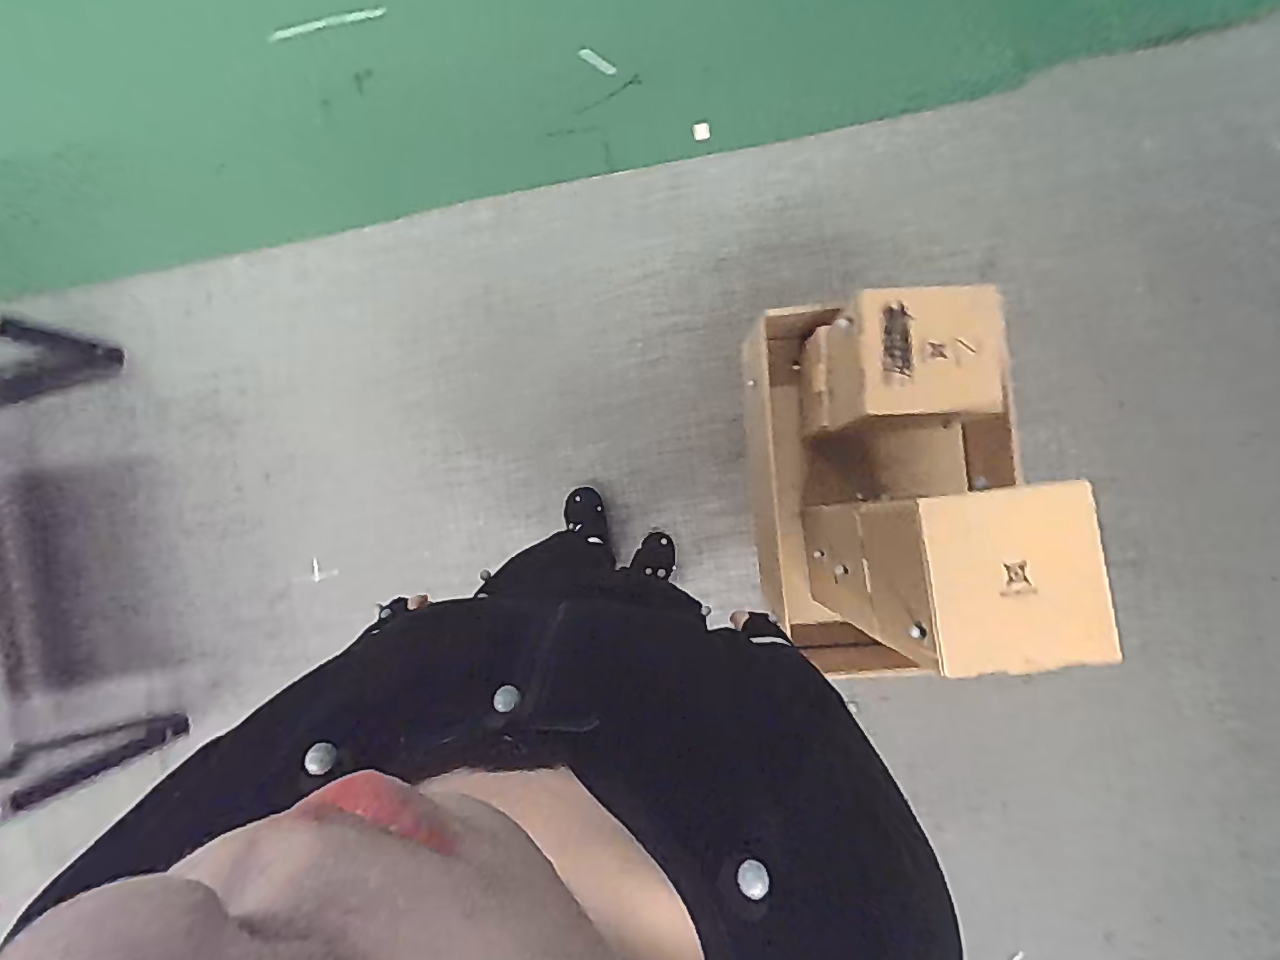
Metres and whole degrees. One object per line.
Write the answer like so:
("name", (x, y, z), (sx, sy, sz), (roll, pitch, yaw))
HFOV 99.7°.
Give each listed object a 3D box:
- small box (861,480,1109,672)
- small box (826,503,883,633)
("small box", (0.365, 0.099, 0.608), (0.168, 0.176, 0.179), (-6, 87, 3))
("small box", (0.376, 0.113, 0.770), (0.179, 0.176, 0.168), (-7, 86, 4))
